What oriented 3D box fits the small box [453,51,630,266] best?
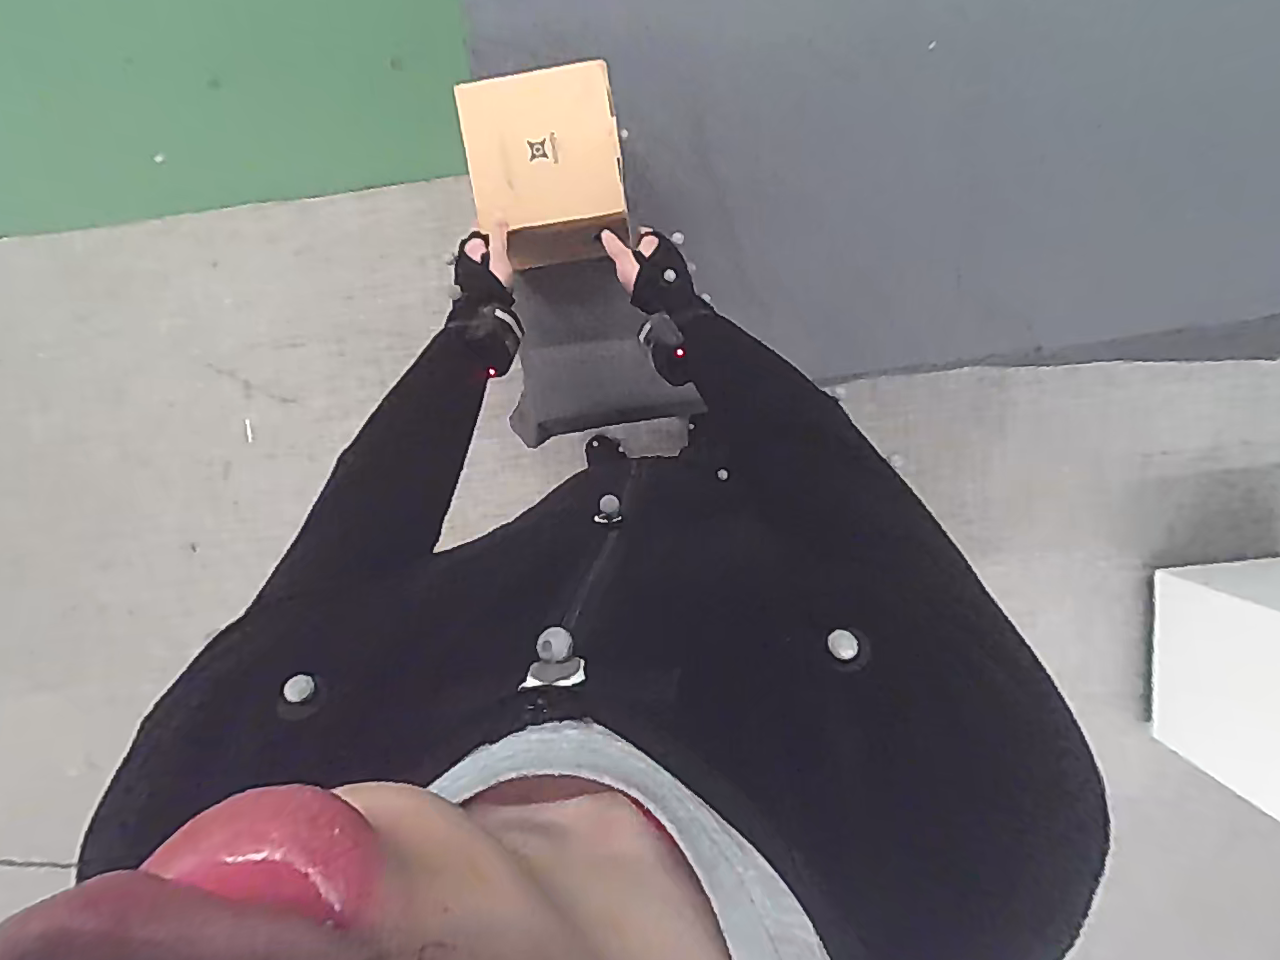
[{"bbox_3d":[-0.108,-0.384,0.678,0.179,0.176,0.168,-9,96,2],"label":"small box"}]
